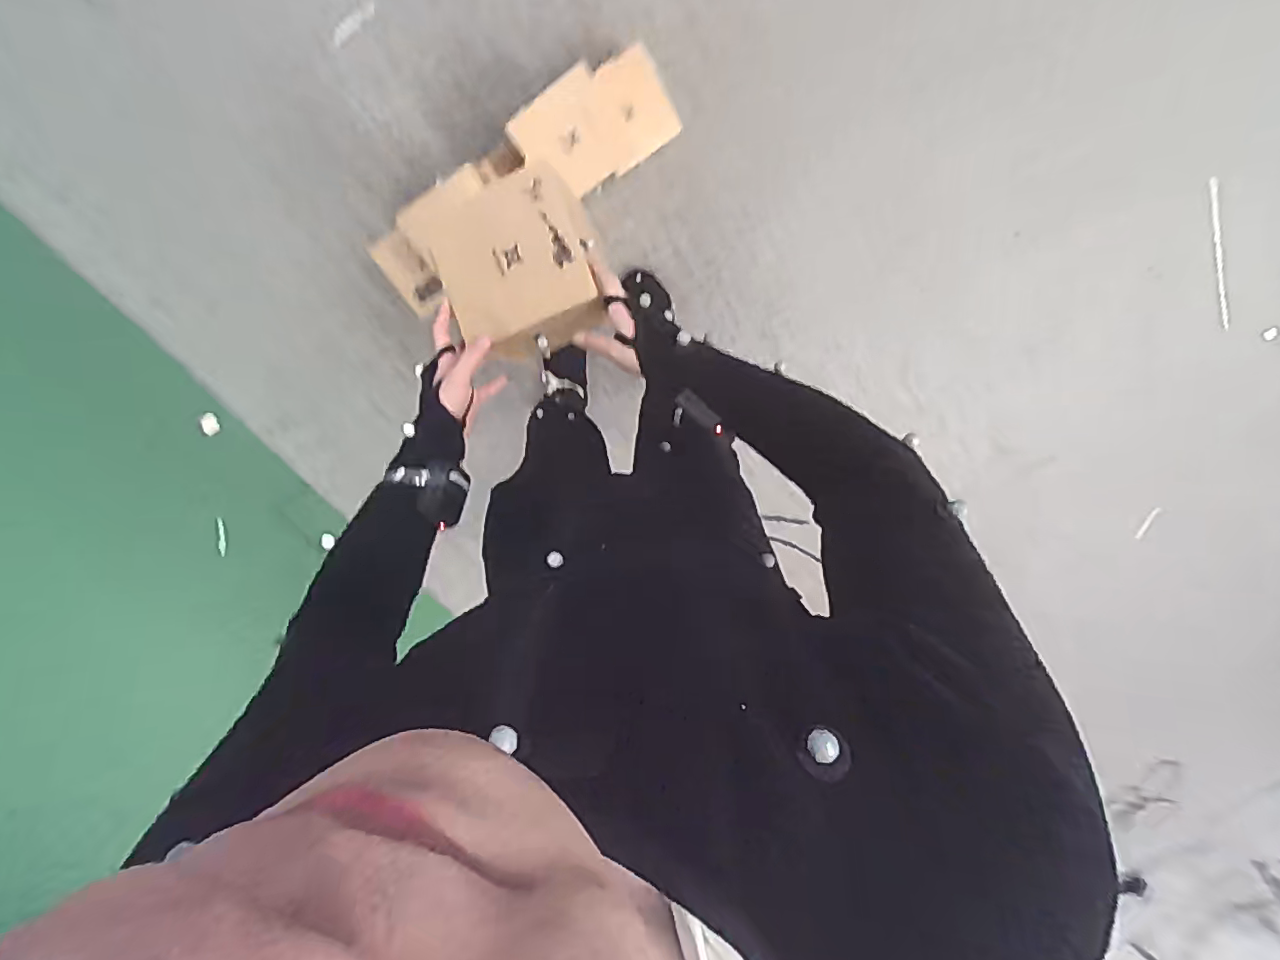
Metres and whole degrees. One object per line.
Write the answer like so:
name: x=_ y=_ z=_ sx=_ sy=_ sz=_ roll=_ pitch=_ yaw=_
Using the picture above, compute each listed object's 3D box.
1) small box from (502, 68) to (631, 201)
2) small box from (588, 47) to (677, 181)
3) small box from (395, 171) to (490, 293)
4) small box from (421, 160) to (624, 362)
small box: x=-0.139 y=-0.638 z=1.044 sx=0.179 sy=0.176 sz=0.168 roll=-34 pitch=116 yaw=8
small box: x=-0.040 y=-0.778 z=1.170 sx=0.168 sy=0.176 sz=0.179 roll=-32 pitch=116 yaw=10
small box: x=-0.350 y=-0.493 z=1.090 sx=0.179 sy=0.176 sz=0.168 roll=-30 pitch=116 yaw=9
small box: x=-0.139 y=-0.264 z=0.702 sx=0.179 sy=0.176 sz=0.168 roll=-20 pitch=94 yaw=12
